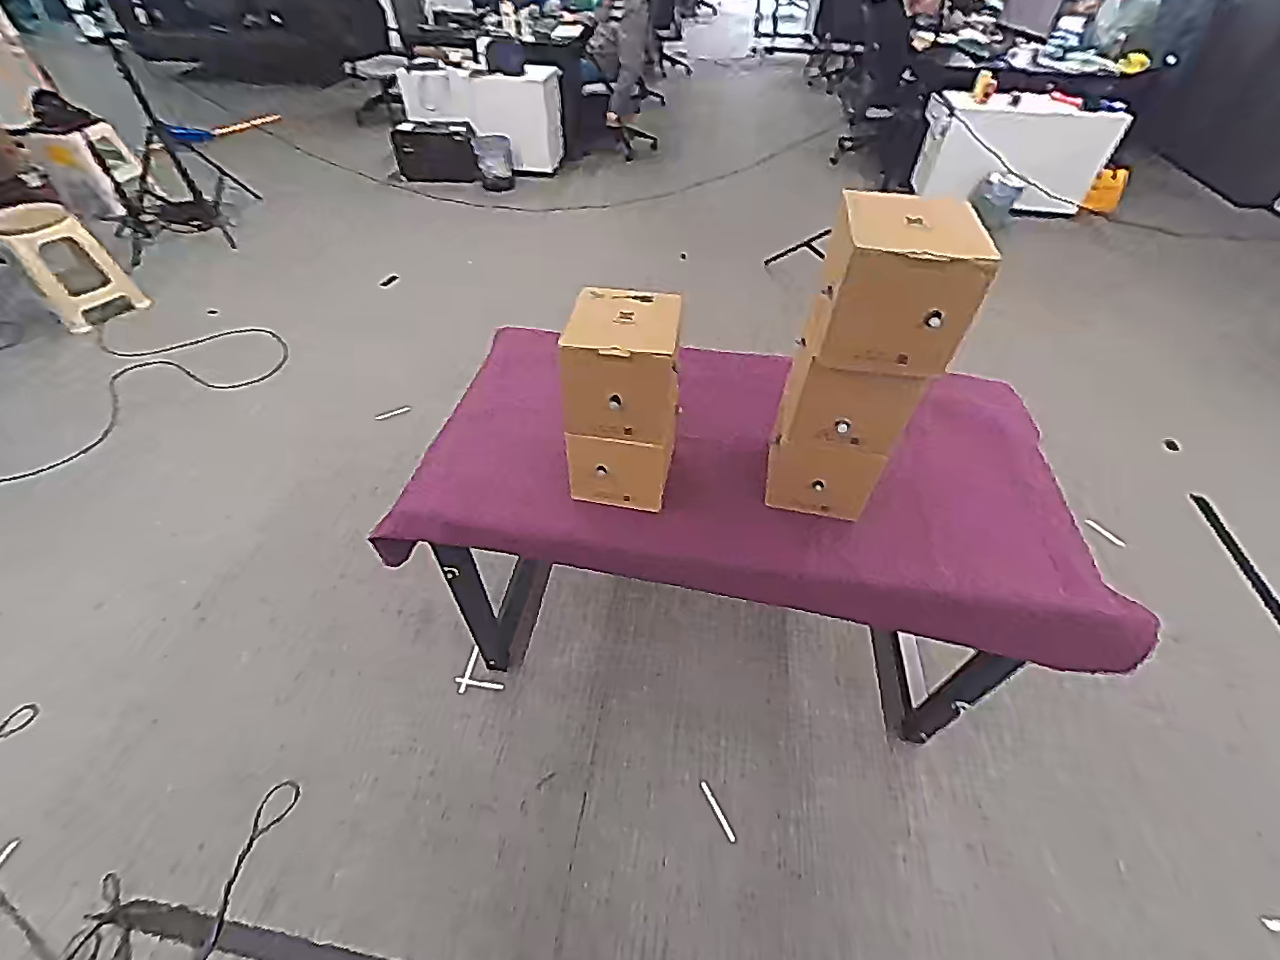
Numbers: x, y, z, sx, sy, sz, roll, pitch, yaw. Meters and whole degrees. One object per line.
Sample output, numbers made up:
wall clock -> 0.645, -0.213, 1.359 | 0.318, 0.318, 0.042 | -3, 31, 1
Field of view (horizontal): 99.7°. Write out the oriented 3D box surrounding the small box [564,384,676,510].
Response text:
small box -> -0.030, -0.067, 0.982 | 0.168, 0.176, 0.179 | 8, 47, 6

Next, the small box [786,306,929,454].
small box -> 0.333, -0.169, 0.861 | 0.168, 0.176, 0.179 | 9, 49, 7

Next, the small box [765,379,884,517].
small box -> 0.326, -0.056, 0.980 | 0.168, 0.176, 0.179 | 10, 48, 7

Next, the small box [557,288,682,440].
small box -> -0.027, -0.183, 0.866 | 0.168, 0.176, 0.179 | 7, 47, 4

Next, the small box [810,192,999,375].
small box -> 0.334, -0.261, 0.726 | 0.168, 0.176, 0.179 | 8, 48, 4
